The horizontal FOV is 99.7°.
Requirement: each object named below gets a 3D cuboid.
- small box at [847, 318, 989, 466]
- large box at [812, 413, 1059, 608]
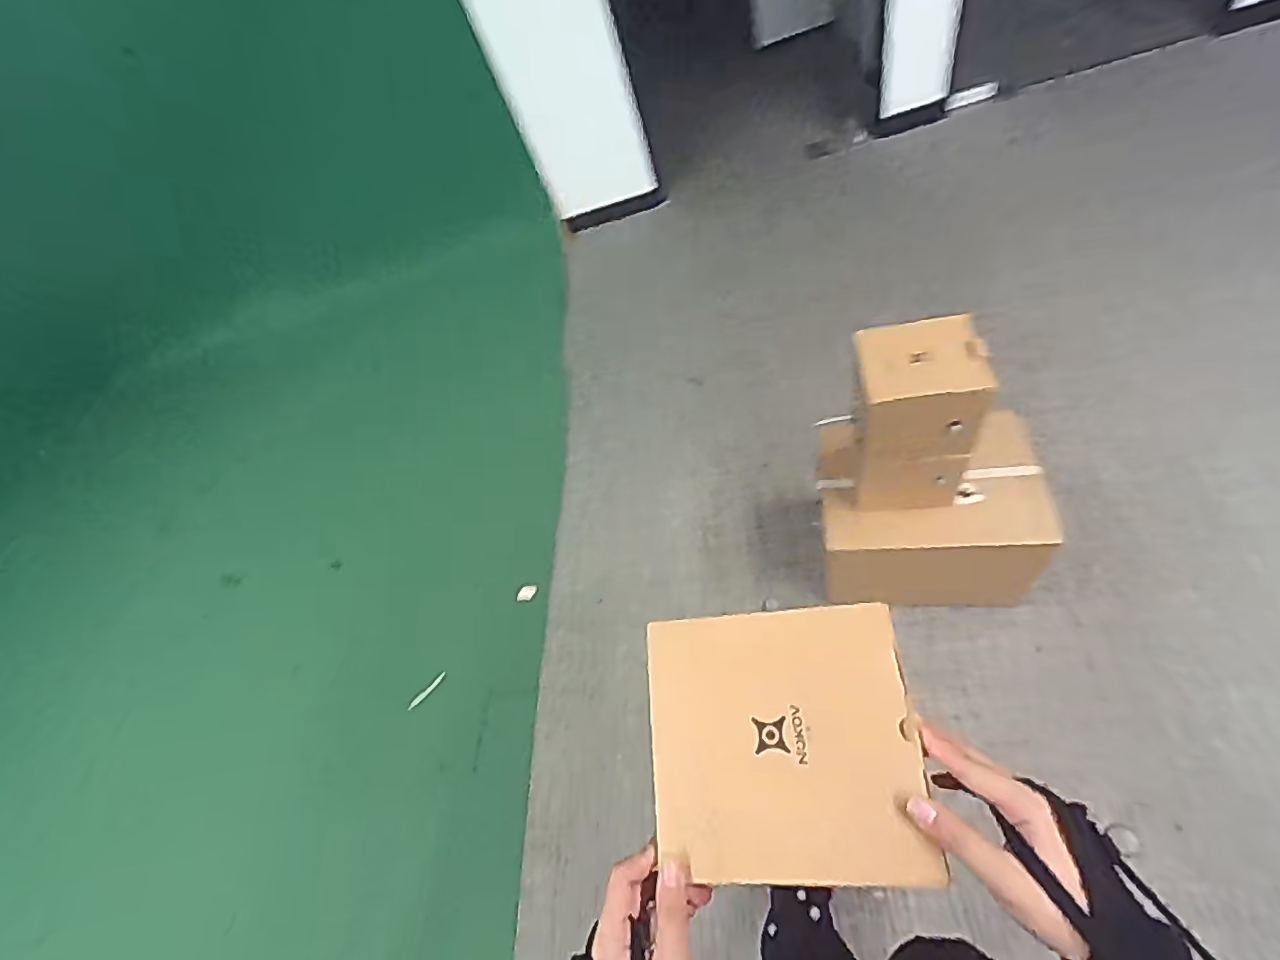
[{"bbox_3d":[0.455,-0.142,0.917,0.179,0.176,0.168,-8,54,16],"label":"small box"},{"bbox_3d":[0.614,0.085,1.218,0.408,0.320,0.320,-5,56,16],"label":"large box"}]
